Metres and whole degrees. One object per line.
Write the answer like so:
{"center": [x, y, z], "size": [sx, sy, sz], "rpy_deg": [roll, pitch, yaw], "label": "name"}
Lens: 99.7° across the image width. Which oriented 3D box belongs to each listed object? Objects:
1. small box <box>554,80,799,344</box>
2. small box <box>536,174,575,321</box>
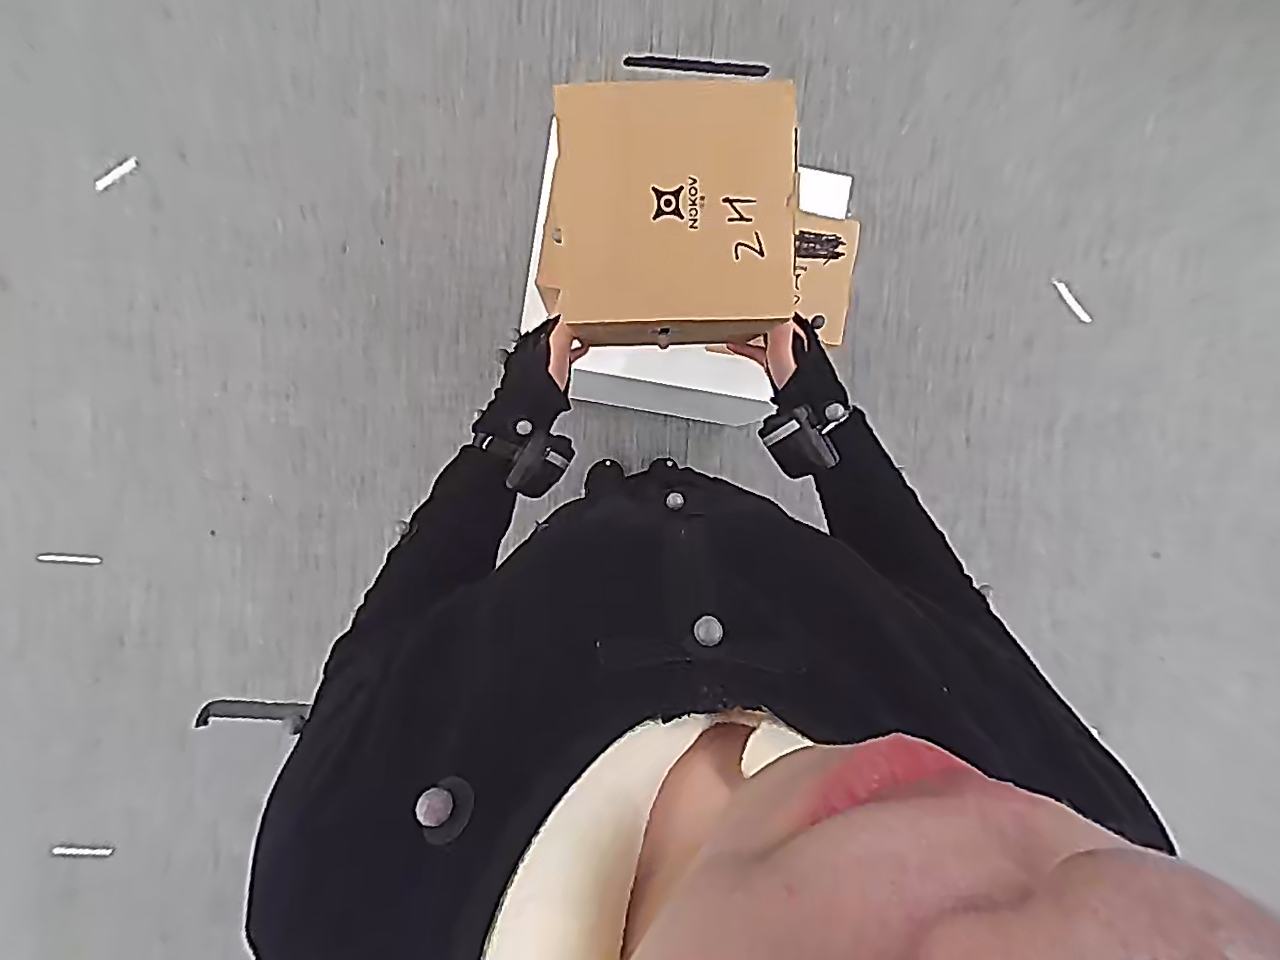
{"center": [0.026, -0.212, 0.472], "size": [0.179, 0.176, 0.168], "rpy_deg": [-1, 99, -2], "label": "small box"}
{"center": [-0.051, -0.338, 0.809], "size": [0.168, 0.176, 0.179], "rpy_deg": [10, 91, -3], "label": "small box"}
